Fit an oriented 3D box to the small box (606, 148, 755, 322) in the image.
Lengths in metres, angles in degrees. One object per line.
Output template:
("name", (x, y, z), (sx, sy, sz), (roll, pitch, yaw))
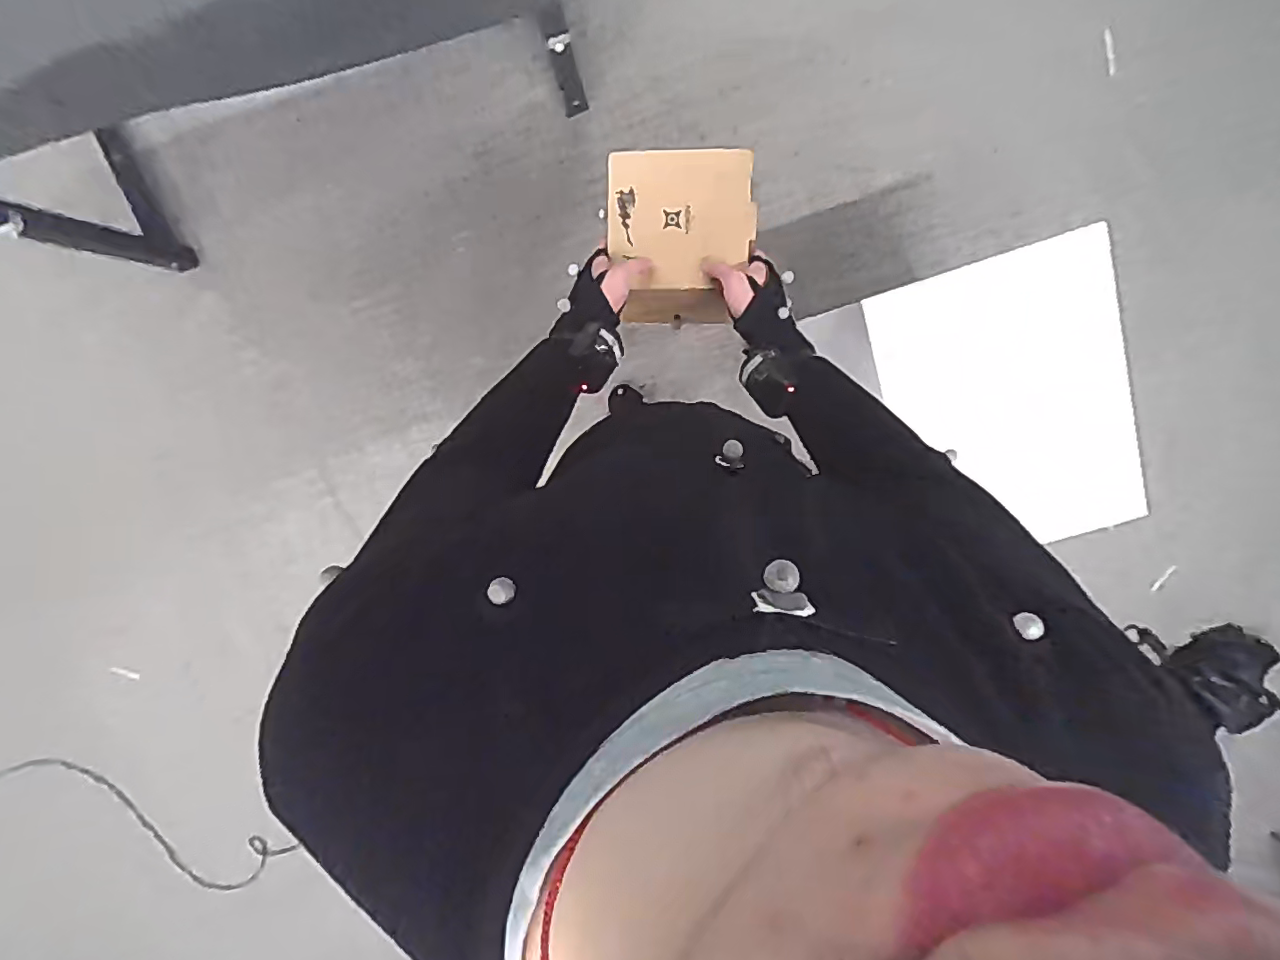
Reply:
("small box", (0.048, -0.313, 0.721), (0.179, 0.176, 0.168), (1, 93, 1))
